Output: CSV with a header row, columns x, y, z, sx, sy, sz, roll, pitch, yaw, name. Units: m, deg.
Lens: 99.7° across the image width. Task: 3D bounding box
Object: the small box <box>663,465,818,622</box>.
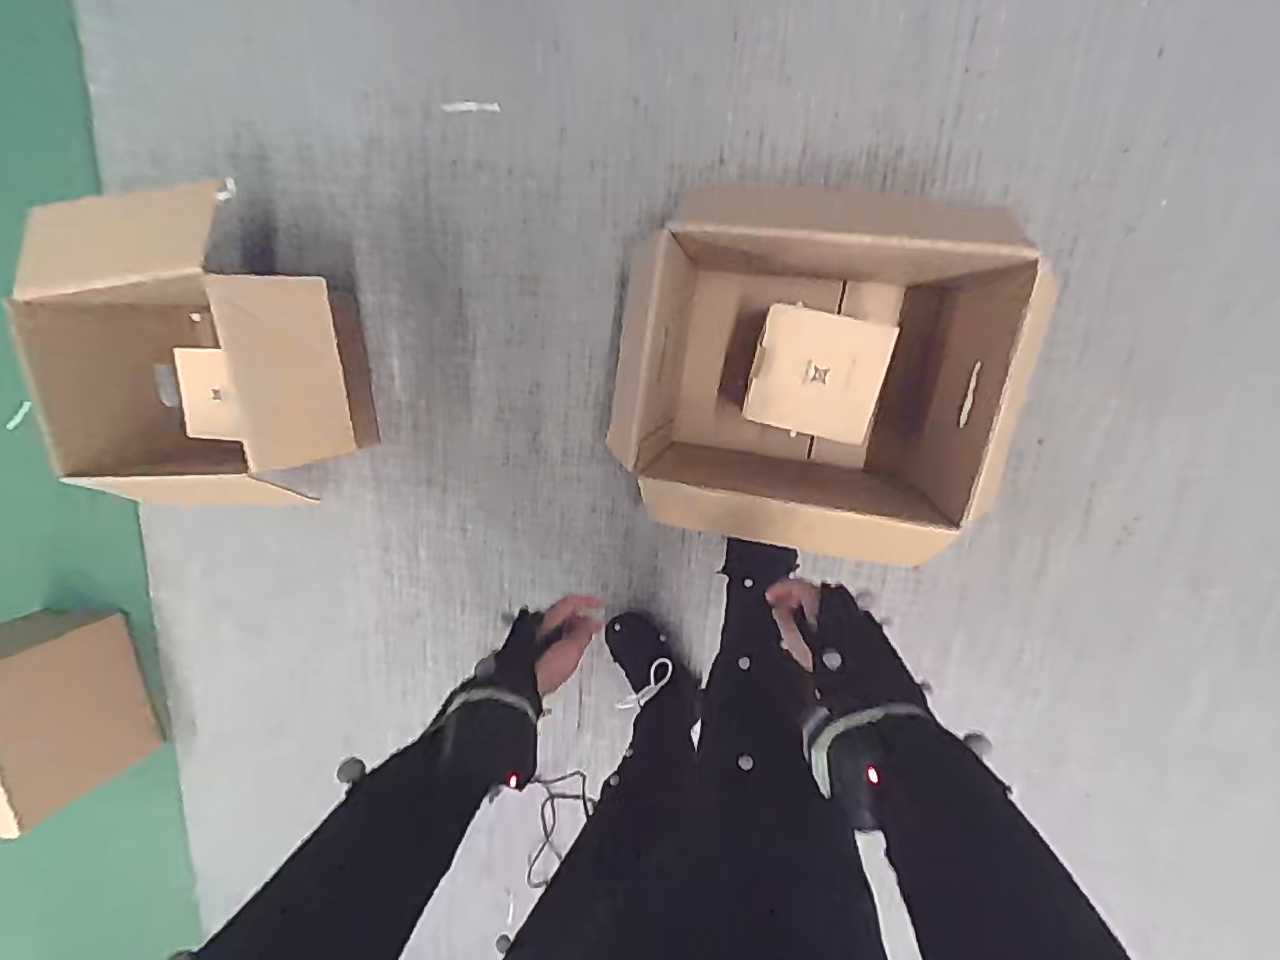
x,y,z,sx,sy,sz,roll,pitch,yaw,name
0.166,0.114,0.893,0.179,0.168,0.176,29,139,-9,small box
